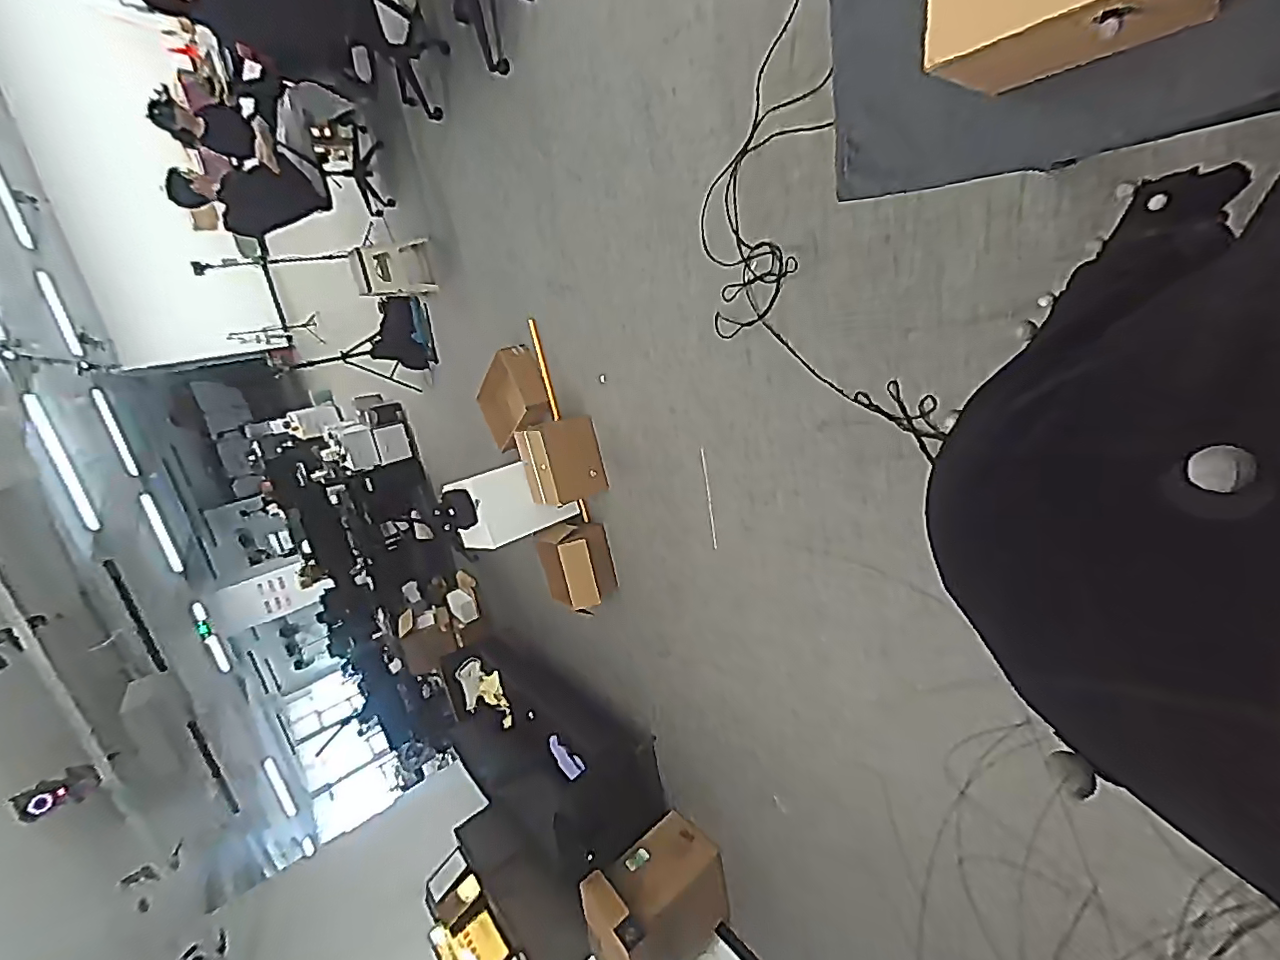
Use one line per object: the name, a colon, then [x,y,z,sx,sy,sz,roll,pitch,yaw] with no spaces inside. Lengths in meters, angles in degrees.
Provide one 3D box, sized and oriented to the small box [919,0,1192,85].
small box: [0.366,-0.470,0.461,0.179,0.176,0.168,14,117,50]
